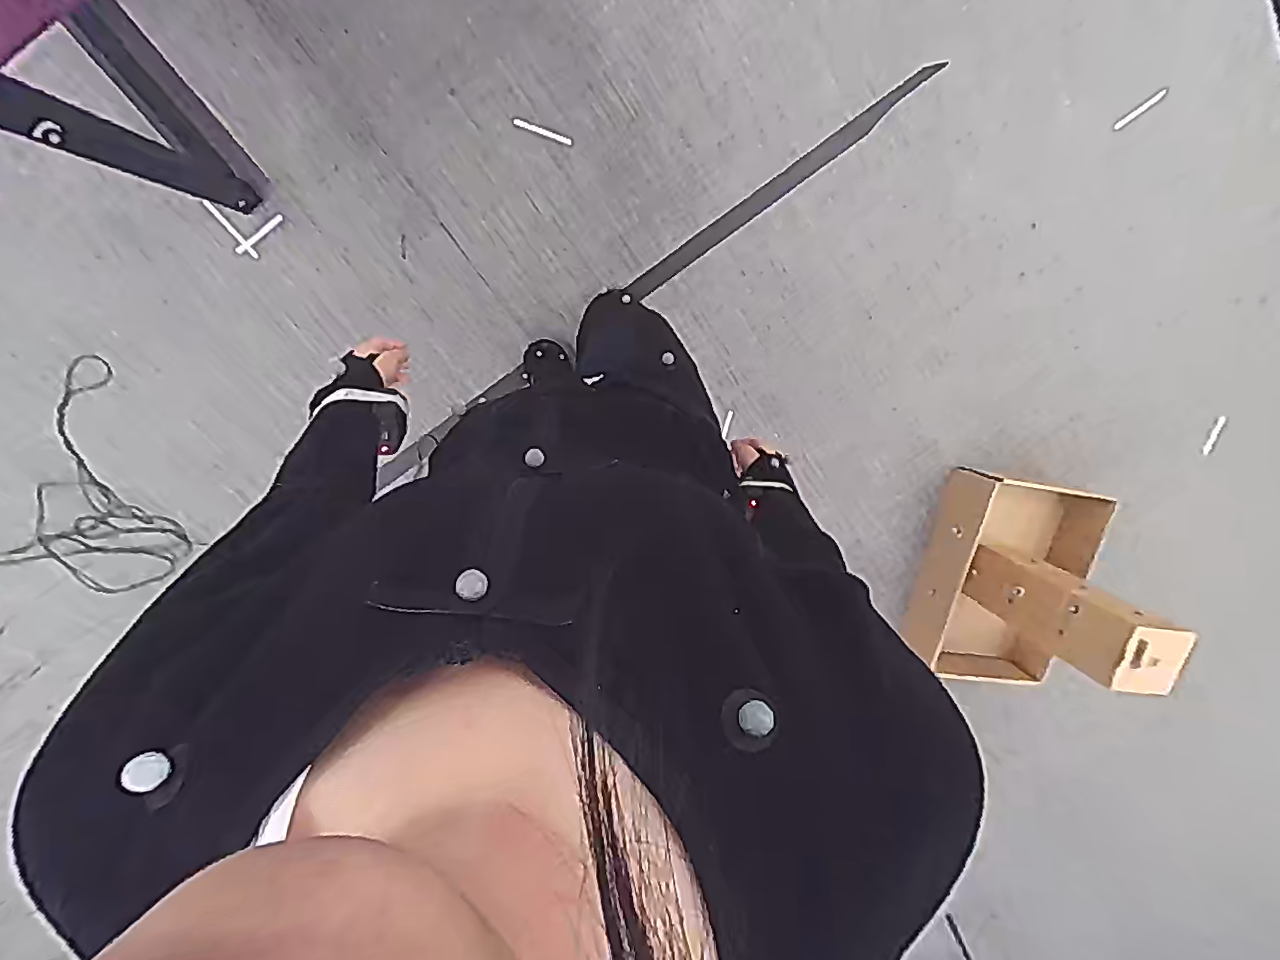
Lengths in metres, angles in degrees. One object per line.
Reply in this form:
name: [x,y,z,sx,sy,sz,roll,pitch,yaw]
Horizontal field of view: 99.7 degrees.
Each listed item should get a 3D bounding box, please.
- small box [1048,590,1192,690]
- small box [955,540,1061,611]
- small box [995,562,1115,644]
small box: [1.146,0.379,1.306,0.179,0.176,0.168,8,104,-11]
small box: [1.097,0.291,1.617,0.179,0.176,0.168,11,103,-11]
small box: [1.119,0.336,1.462,0.179,0.176,0.168,10,103,-10]
